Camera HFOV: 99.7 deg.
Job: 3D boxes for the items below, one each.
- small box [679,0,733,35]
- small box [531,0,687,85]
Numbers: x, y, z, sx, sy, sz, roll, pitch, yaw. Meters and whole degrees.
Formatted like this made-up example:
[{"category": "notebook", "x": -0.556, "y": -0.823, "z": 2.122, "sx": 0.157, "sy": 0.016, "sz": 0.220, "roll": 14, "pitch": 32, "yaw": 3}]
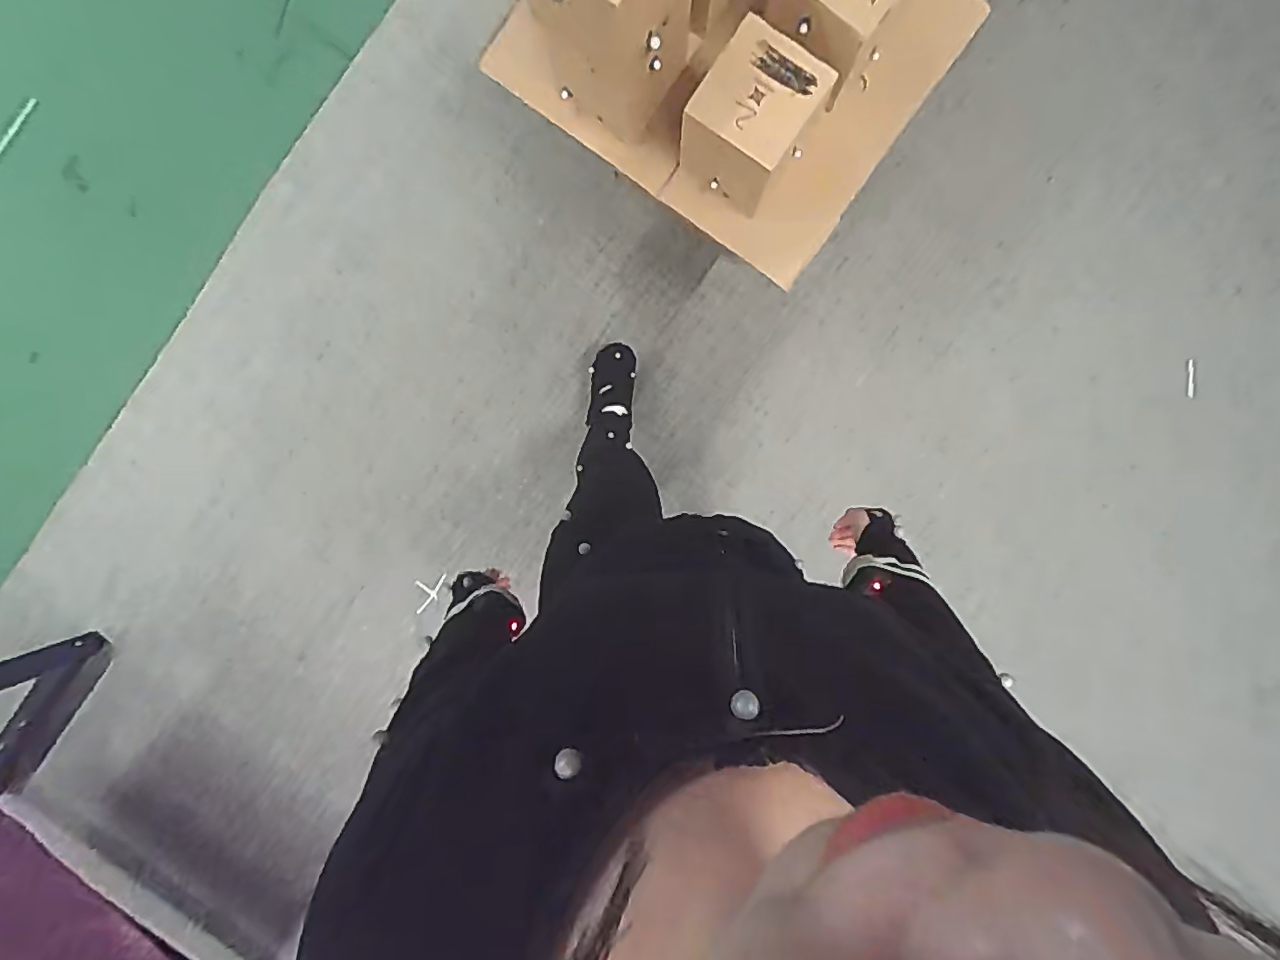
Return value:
[{"category": "small box", "x": 0.099, "y": -0.893, "z": 0.872, "sx": 0.168, "sy": 0.176, "sz": 0.179, "roll": 35, "pitch": 92, "yaw": 1}, {"category": "small box", "x": -0.046, "y": -0.691, "z": 0.725, "sx": 0.179, "sy": 0.176, "sz": 0.168, "roll": 38, "pitch": 95, "yaw": -1}]
